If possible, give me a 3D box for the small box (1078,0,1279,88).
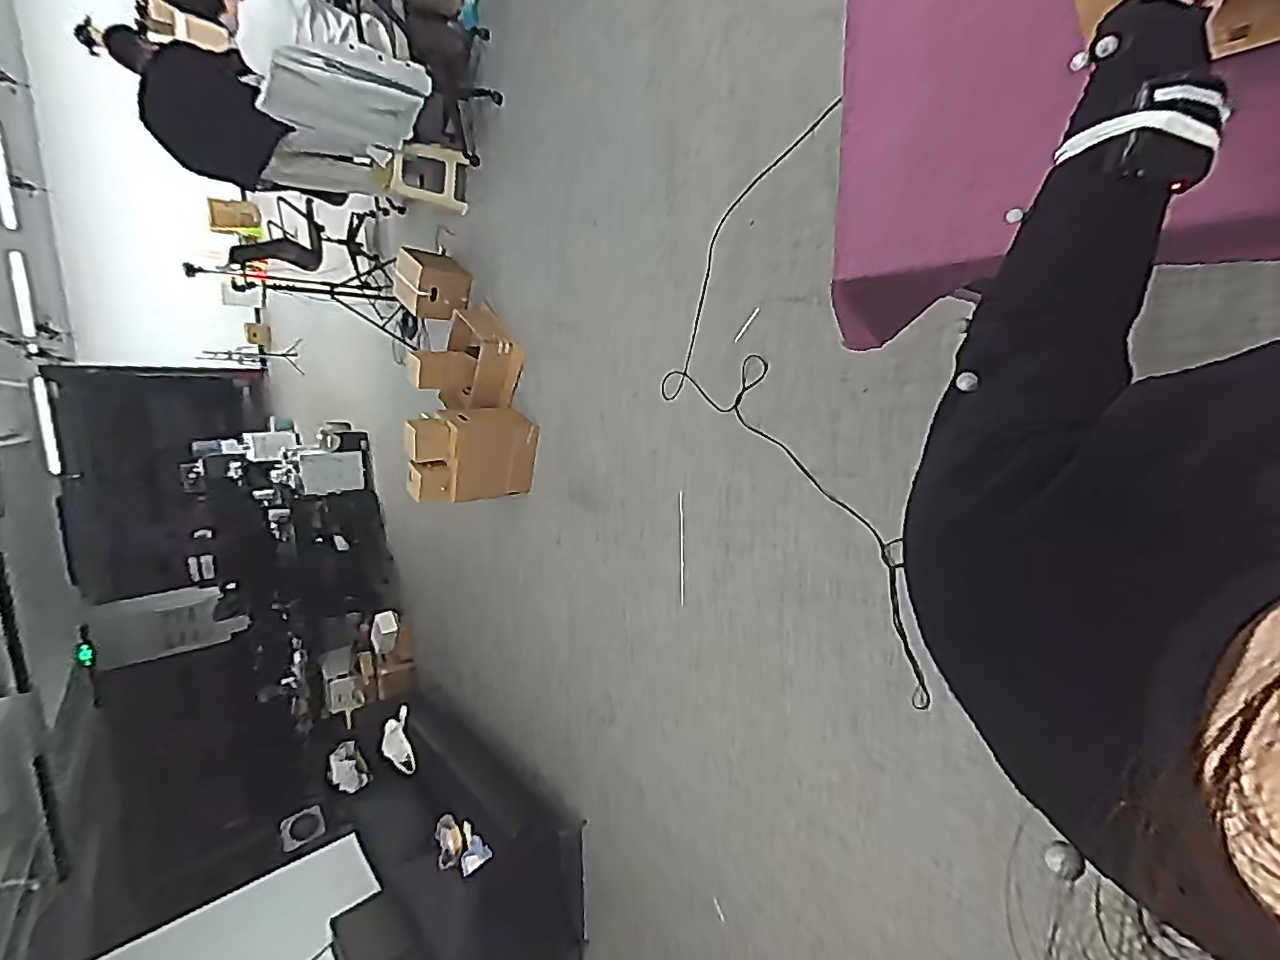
[{"bbox_3d":[0.502,-0.499,0.469,0.168,0.176,0.179,14,94,47],"label":"small box"}]
